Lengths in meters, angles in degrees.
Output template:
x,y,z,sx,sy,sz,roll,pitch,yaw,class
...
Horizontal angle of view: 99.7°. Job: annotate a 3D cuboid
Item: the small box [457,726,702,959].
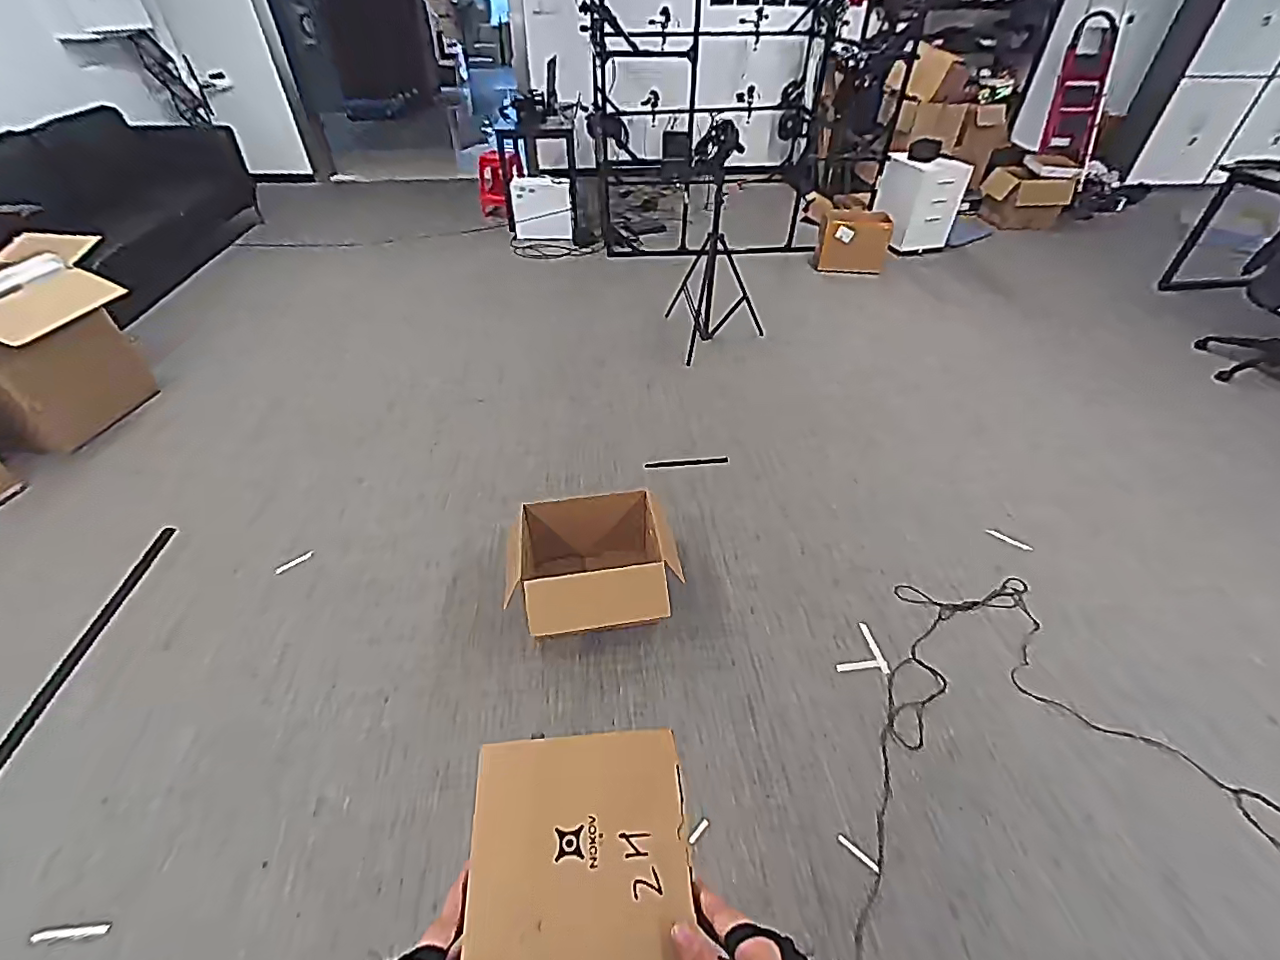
x,y,z,sx,sy,sz,roll,pitch,yaw,class
-0.049,0.338,0.487,0.179,0.176,0.168,-3,50,-5,small box
